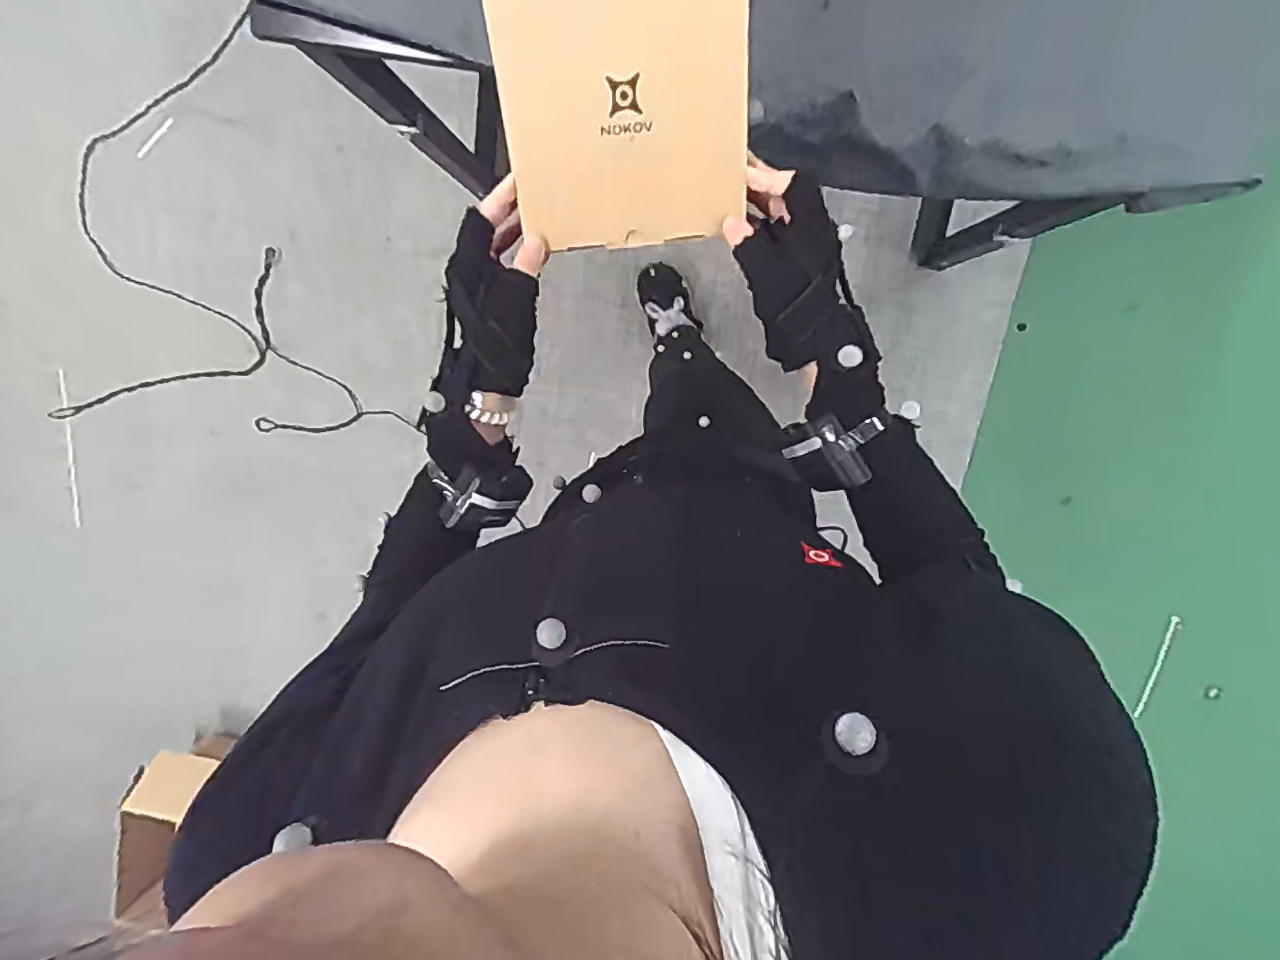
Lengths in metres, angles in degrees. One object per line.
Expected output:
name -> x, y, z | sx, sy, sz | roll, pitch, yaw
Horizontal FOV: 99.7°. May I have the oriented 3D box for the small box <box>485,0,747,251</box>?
small box -> -0.013, -0.291, 0.430 | 0.168, 0.176, 0.179 | -4, 120, 2
